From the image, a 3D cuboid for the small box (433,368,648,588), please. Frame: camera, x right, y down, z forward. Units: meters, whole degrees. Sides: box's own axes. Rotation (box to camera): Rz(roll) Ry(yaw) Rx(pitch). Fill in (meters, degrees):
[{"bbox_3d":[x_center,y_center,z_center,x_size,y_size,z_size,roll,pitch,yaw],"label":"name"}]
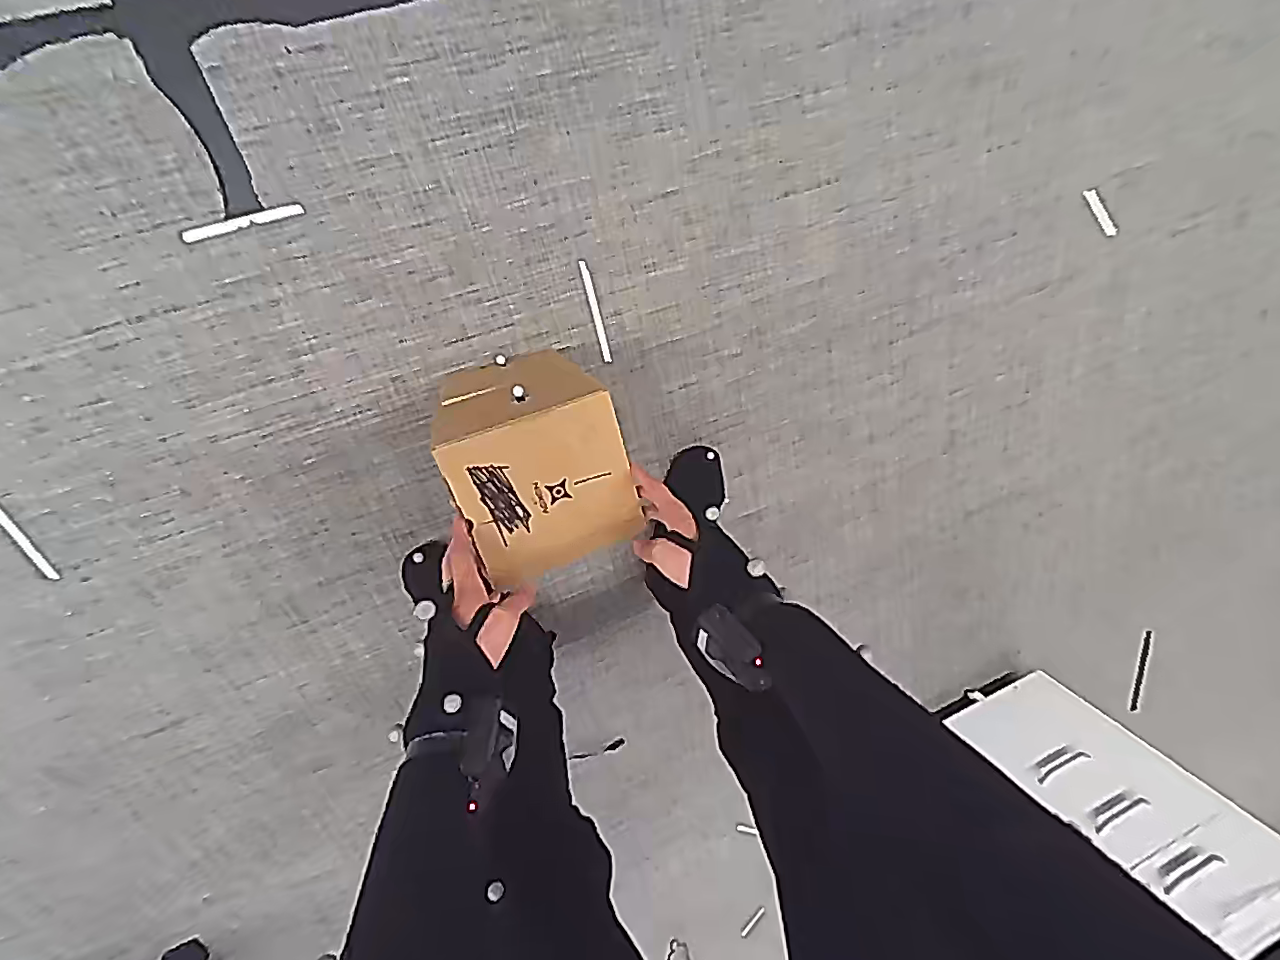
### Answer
[{"bbox_3d":[-0.114,-0.014,0.604,0.179,0.176,0.168,-21,115,-12],"label":"small box"}]
